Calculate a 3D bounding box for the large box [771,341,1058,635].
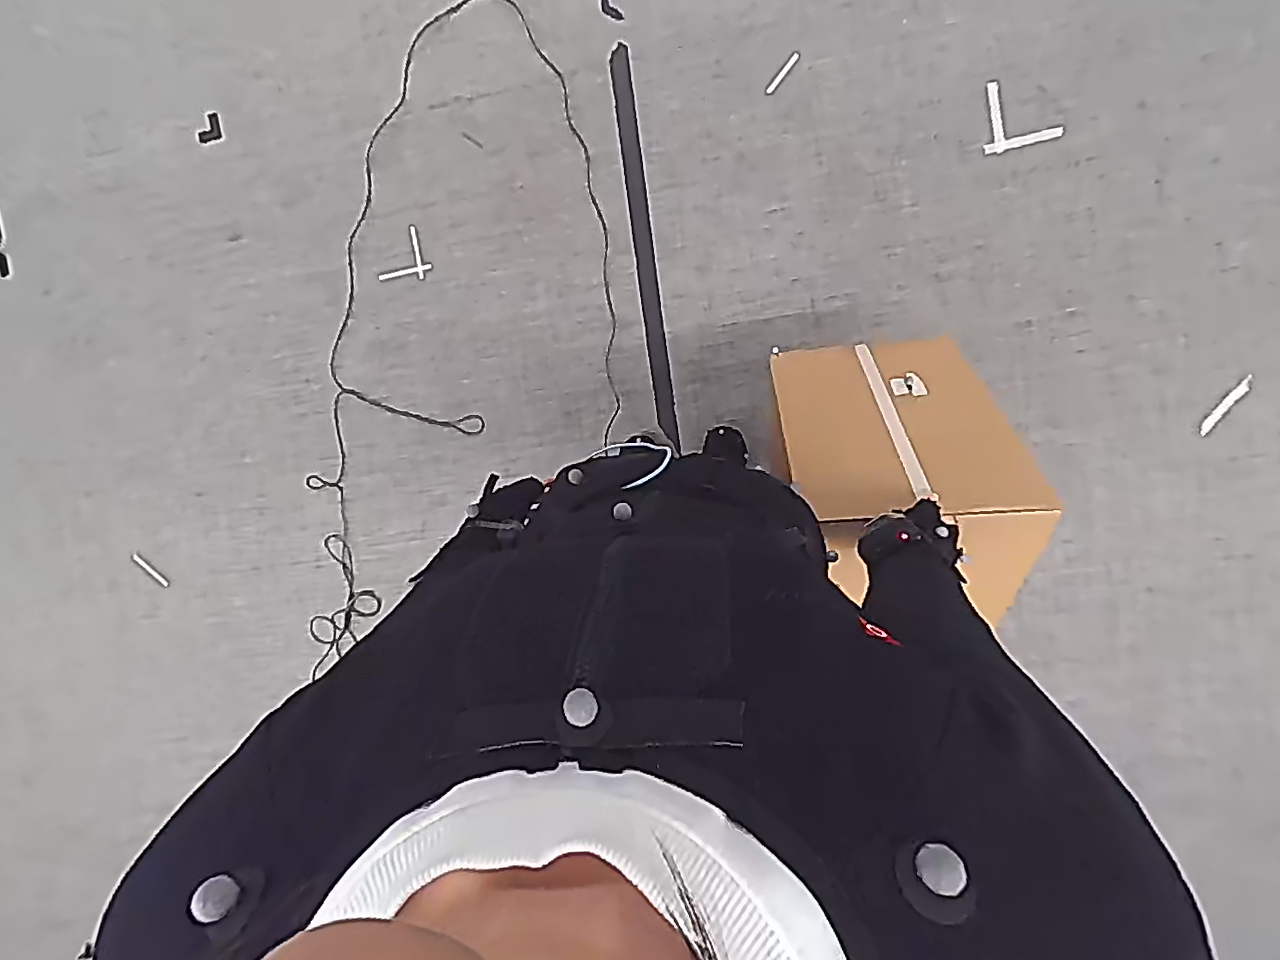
[{"bbox_3d":[0.407,0.010,0.936,0.320,0.408,0.320,-3,134,8],"label":"large box"}]
